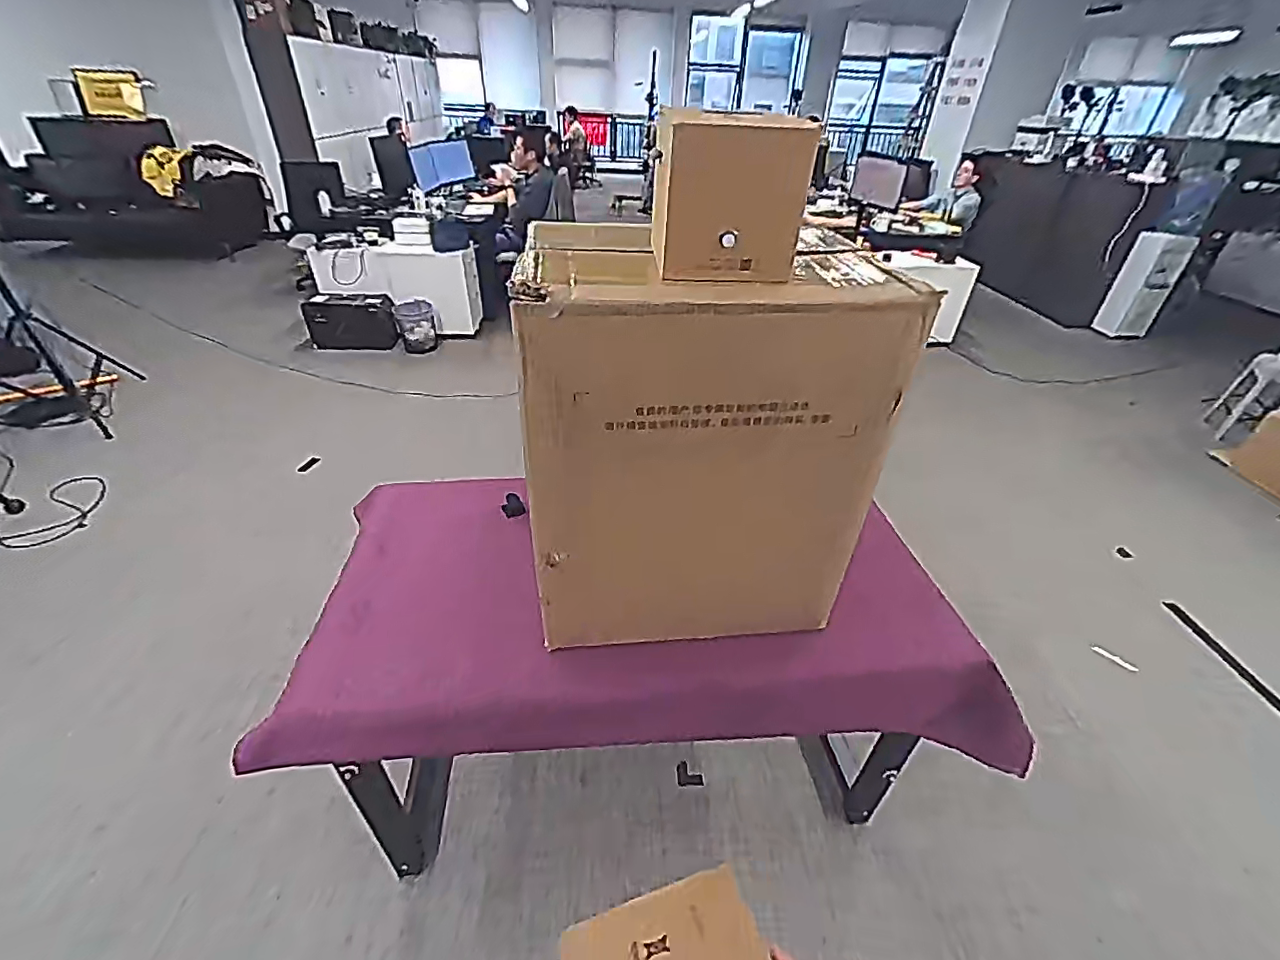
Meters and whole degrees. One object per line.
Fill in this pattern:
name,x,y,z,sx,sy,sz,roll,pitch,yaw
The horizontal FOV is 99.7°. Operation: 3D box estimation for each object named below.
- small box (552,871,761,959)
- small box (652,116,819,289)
small box,0.030,0.474,0.437,0.179,0.168,0.176,-16,79,-8
small box,0.106,-0.358,0.694,0.168,0.176,0.179,-1,38,-4
